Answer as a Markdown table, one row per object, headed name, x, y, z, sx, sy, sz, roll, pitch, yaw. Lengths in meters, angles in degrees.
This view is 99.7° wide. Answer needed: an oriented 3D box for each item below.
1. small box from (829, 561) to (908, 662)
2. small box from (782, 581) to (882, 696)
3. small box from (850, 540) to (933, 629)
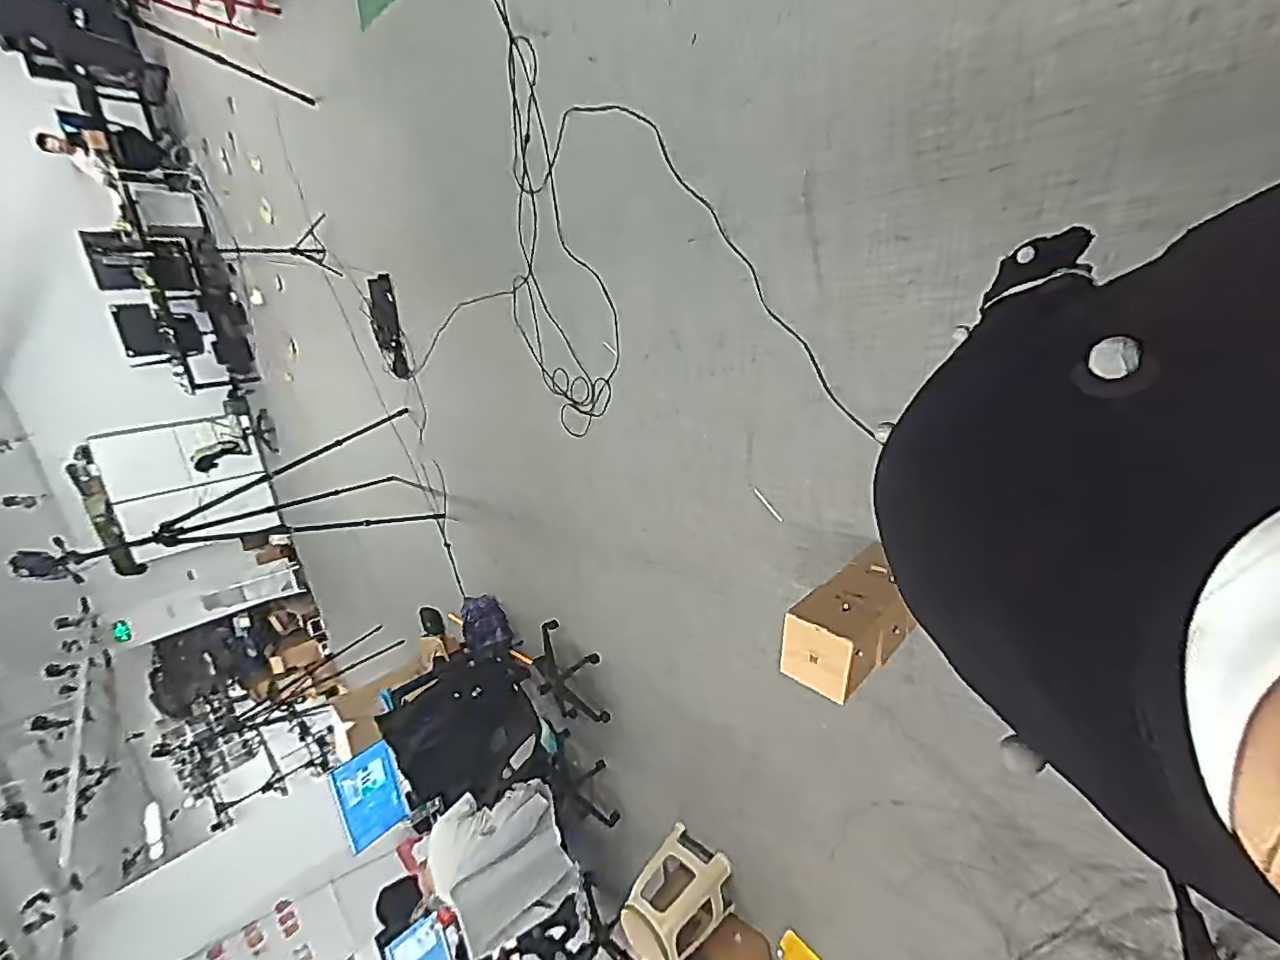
| name | x | y | z | sx | sy | sz | roll | pitch | yaw |
| --- | --- | --- | --- | --- | --- | --- | --- | --- | --- |
| small box | 0.587 | 0.334 | 1.416 | 0.168 | 0.176 | 0.179 | 13 | 116 | 43 |
| small box | 0.467 | 0.376 | 1.315 | 0.168 | 0.176 | 0.179 | 19 | 119 | 41 |
| small box | 0.706 | 0.284 | 1.521 | 0.168 | 0.176 | 0.179 | 10 | 112 | 47 |
